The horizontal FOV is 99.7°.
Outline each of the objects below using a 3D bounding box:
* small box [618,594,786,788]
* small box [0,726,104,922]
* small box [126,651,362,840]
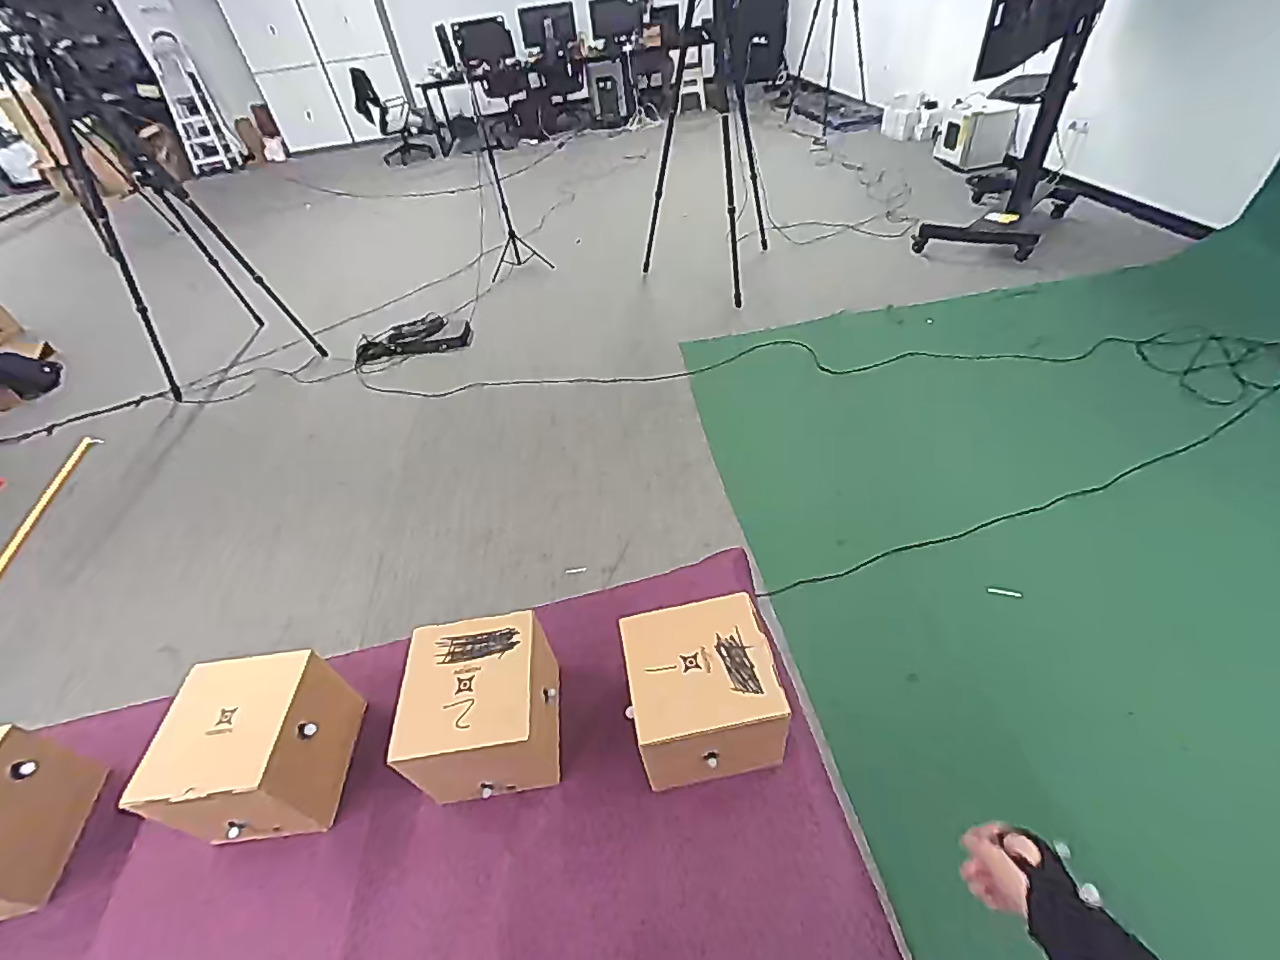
[{"bbox_3d":[0.077,0.278,0.711,0.179,0.176,0.168,-13,44,-1],"label":"small box"},{"bbox_3d":[-0.862,0.452,0.692,0.168,0.176,0.179,-13,44,-4],"label":"small box"},{"bbox_3d":[-0.508,0.359,0.732,0.168,0.176,0.179,-8,45,2],"label":"small box"}]
